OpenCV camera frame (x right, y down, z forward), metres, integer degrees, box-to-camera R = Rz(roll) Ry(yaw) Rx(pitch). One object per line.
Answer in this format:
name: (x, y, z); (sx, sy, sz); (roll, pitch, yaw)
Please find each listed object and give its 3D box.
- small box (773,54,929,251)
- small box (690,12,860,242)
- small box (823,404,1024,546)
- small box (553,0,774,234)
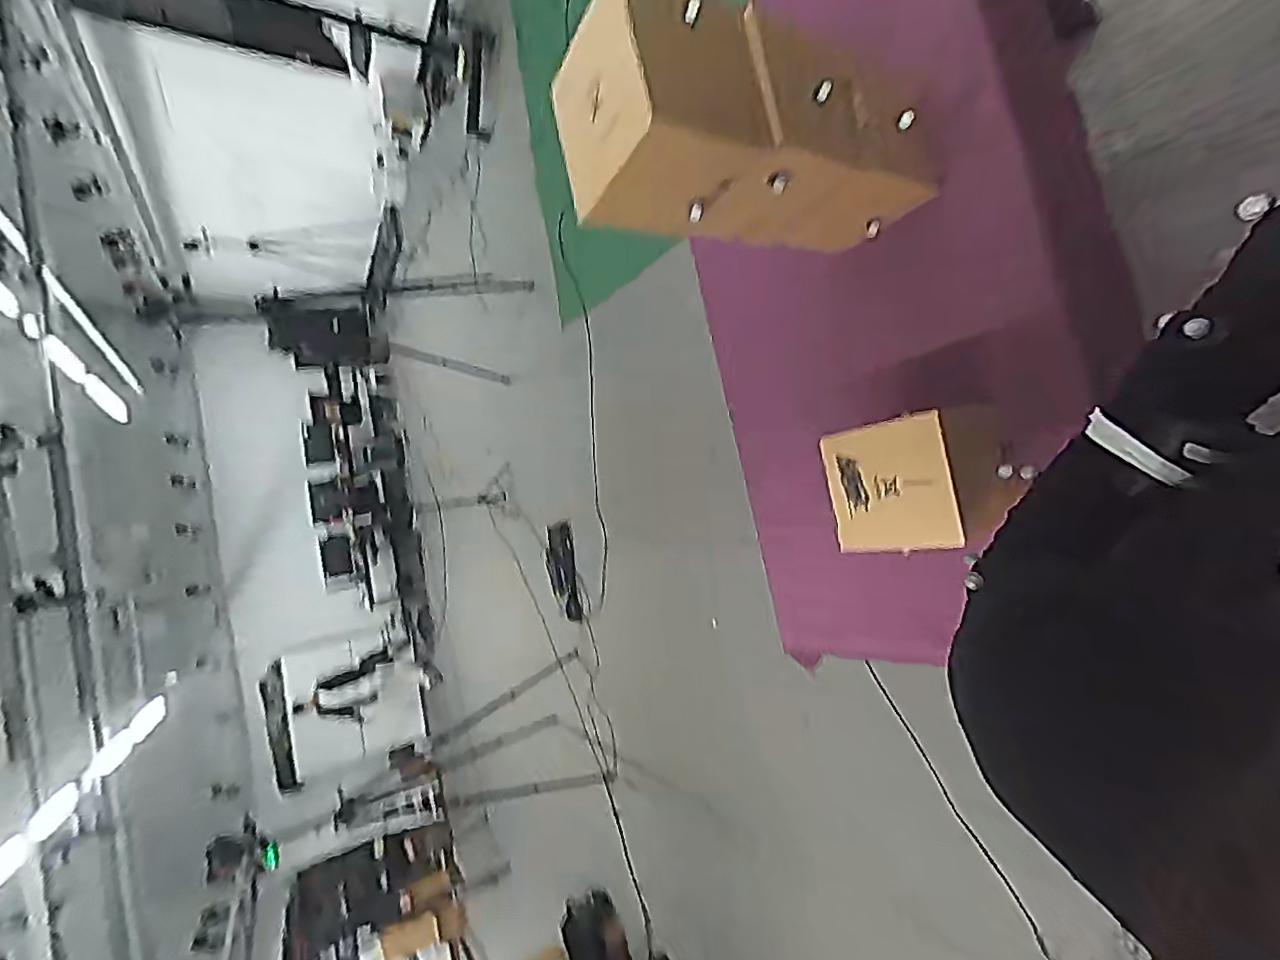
small box: (0.296, -0.460, 0.793); (0.179, 0.176, 0.168); (-18, 83, 56)
small box: (0.160, -0.434, 0.701); (0.179, 0.176, 0.168); (-19, 82, 56)
small box: (0.392, -0.005, 0.757); (0.179, 0.176, 0.168); (-15, 85, 56)
small box: (0.024, -0.407, 0.616); (0.168, 0.176, 0.179); (-19, 83, 57)
